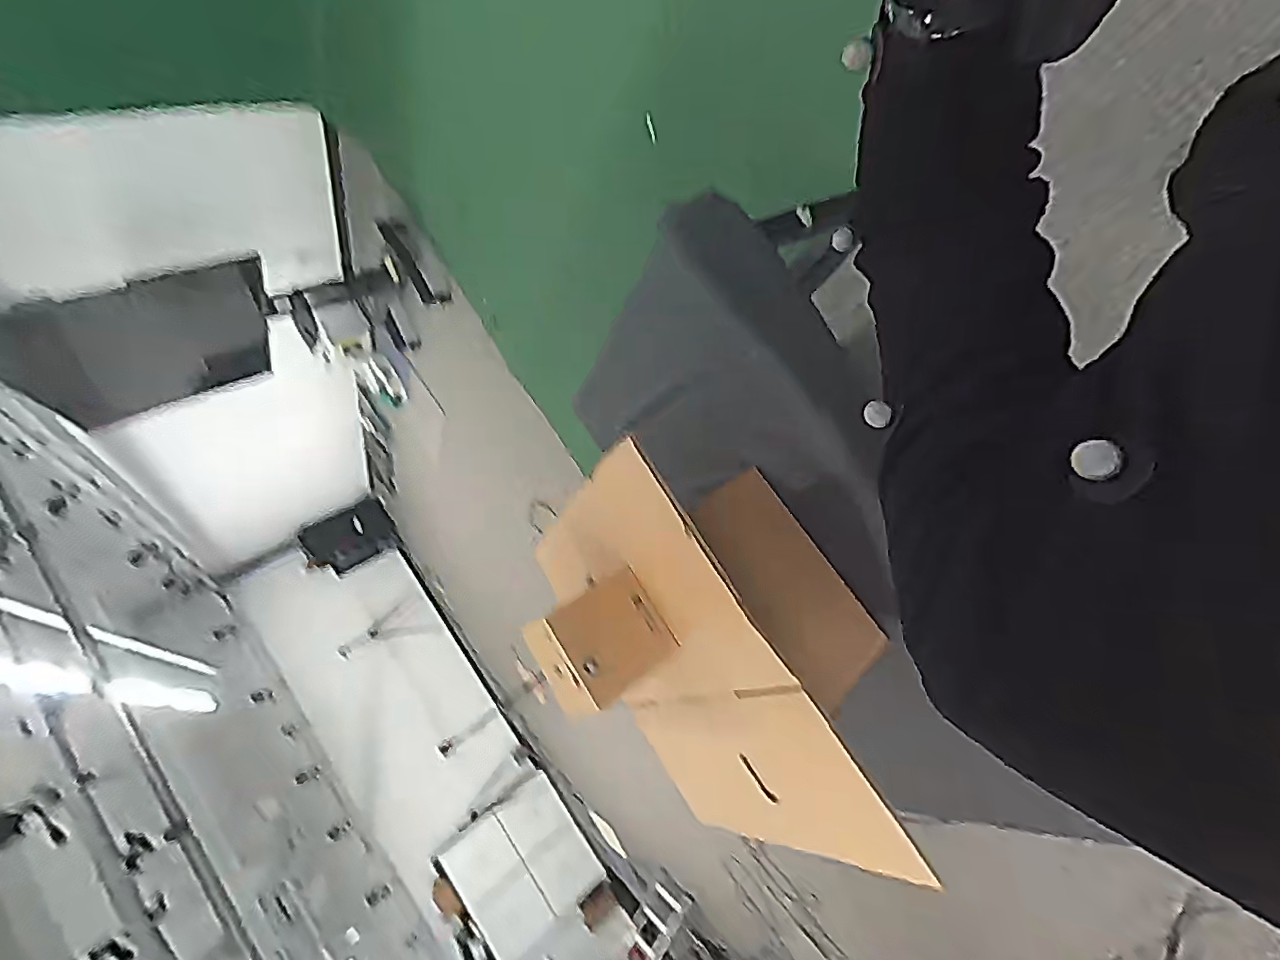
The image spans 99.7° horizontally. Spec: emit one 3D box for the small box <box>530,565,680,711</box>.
[{"bbox_3d":[-0.061,0.268,0.918,0.168,0.176,0.179,57,149,7],"label":"small box"}]
